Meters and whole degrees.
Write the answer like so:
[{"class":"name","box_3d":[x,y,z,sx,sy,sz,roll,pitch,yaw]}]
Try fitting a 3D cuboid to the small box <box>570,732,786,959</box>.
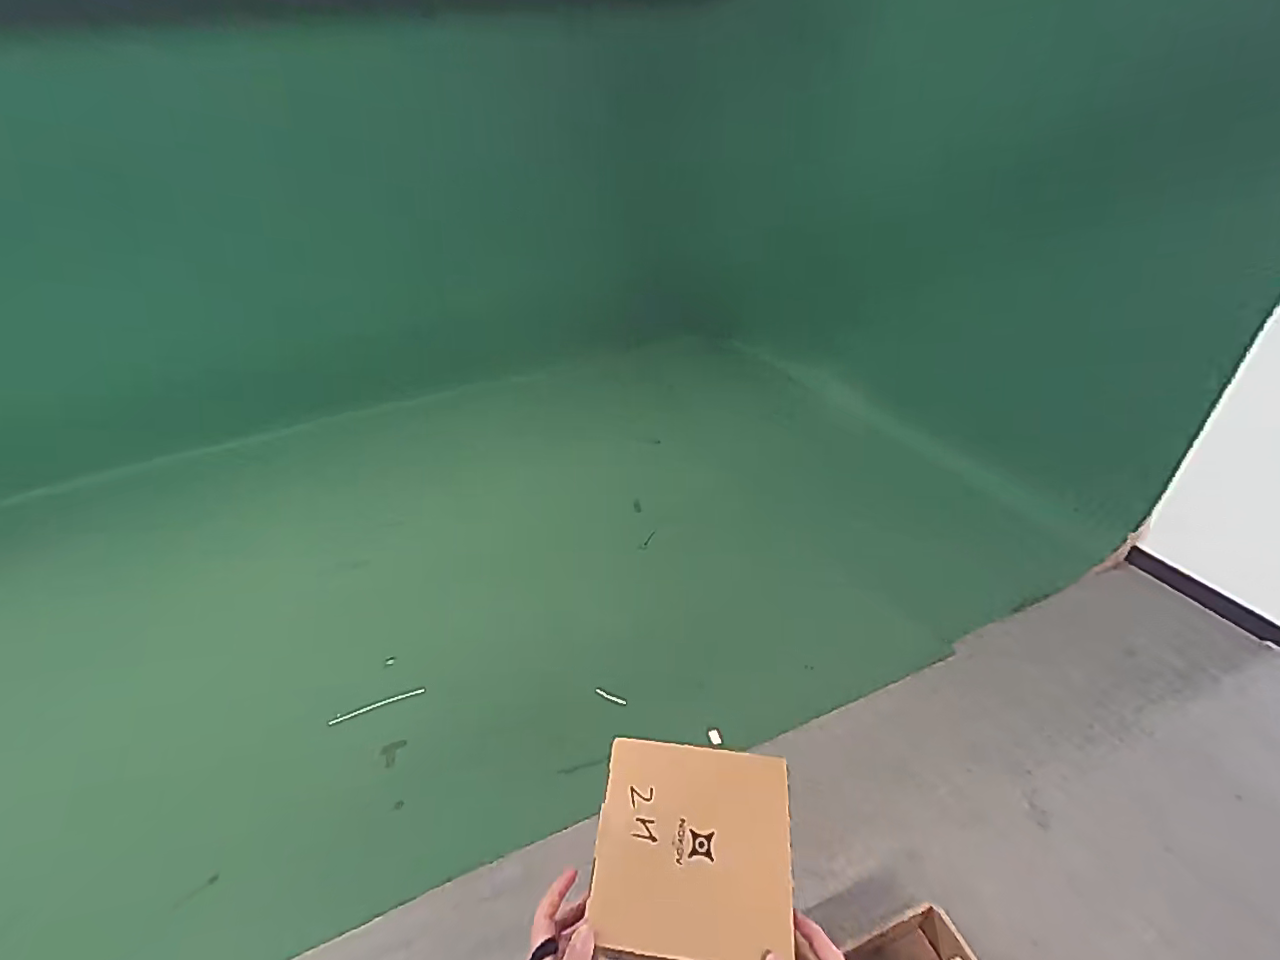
[{"class":"small box","box_3d":[0.044,0.378,0.543,0.179,0.176,0.168,3,45,9]}]
